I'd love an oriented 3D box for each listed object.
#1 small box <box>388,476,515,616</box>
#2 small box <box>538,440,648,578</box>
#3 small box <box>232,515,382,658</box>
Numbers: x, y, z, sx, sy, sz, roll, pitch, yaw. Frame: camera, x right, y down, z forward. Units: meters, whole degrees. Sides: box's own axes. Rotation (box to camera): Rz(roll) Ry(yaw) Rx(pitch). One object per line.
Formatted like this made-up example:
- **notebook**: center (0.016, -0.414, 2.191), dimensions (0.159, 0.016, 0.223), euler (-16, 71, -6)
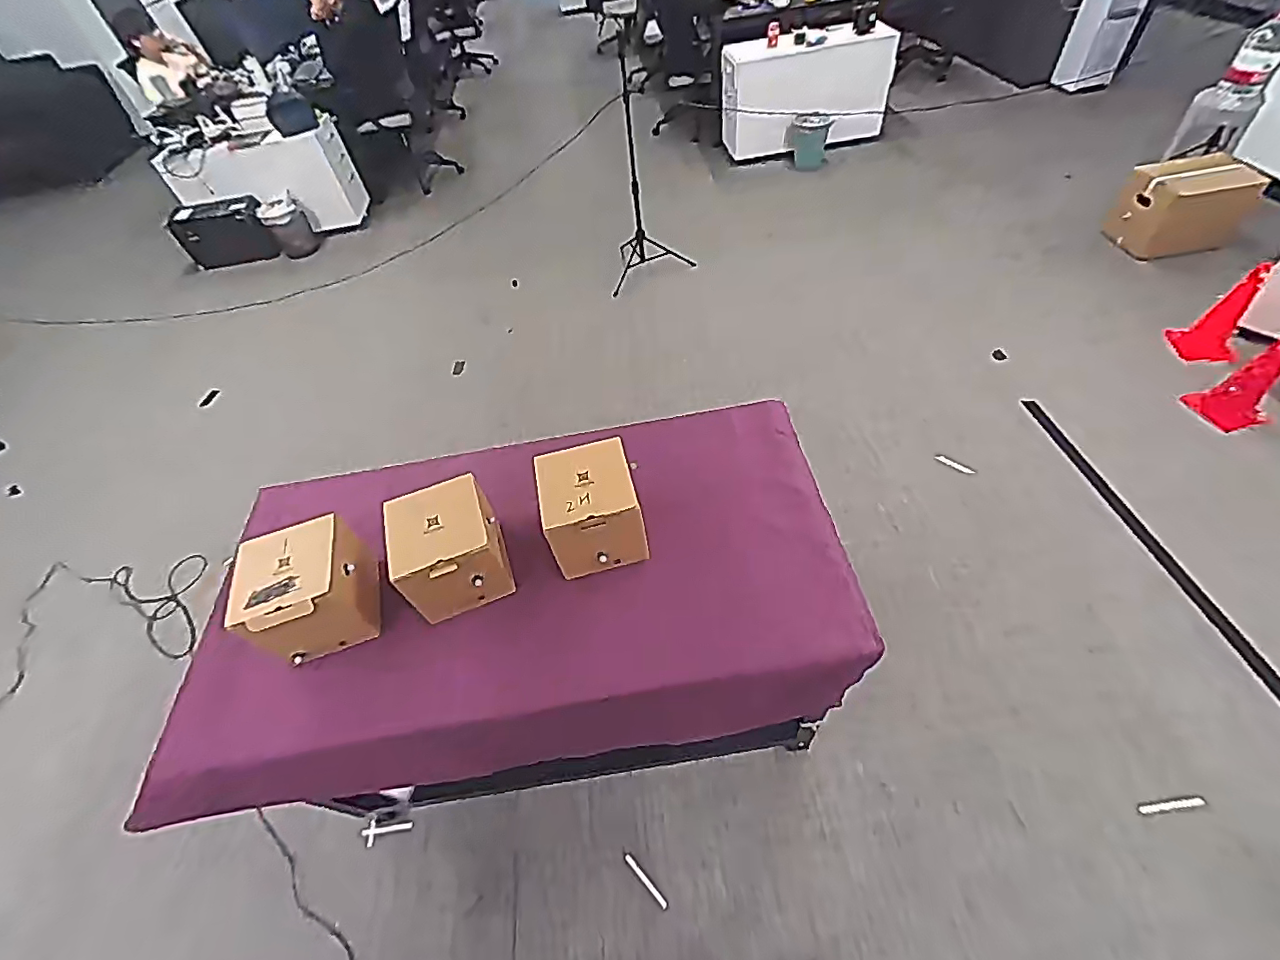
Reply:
- **small box**: center (-0.342, 0.129, 0.996), dimensions (0.168, 0.176, 0.179), euler (-19, 51, -9)
- **small box**: center (-0.087, 0.057, 1.016), dimensions (0.168, 0.176, 0.179), euler (-14, 51, -3)
- **small box**: center (-0.582, 0.199, 0.970), dimensions (0.168, 0.176, 0.179), euler (-18, 50, -8)
